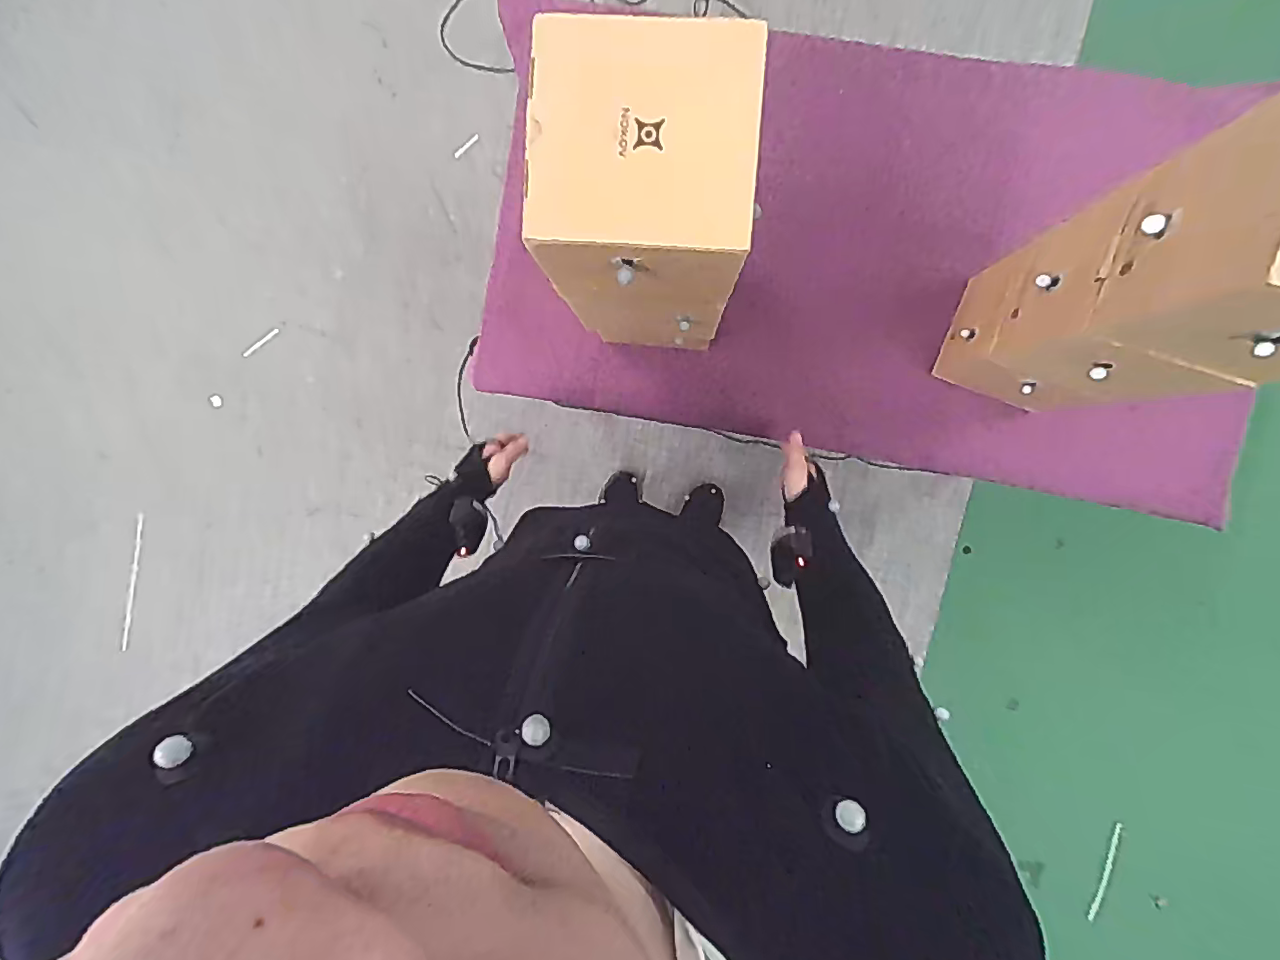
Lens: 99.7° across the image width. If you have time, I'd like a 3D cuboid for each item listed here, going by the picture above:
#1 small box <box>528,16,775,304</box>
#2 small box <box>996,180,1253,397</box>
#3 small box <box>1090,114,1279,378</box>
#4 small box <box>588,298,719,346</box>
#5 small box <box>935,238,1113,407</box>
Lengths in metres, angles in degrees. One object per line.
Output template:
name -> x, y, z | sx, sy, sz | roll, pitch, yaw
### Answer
small box -> 0.010, -0.261, 0.481 | 0.179, 0.176, 0.168 | 4, 95, 3
small box -> 0.555, -0.199, 0.615 | 0.179, 0.176, 0.168 | 19, 95, 3
small box -> 0.546, -0.190, 0.450 | 0.179, 0.176, 0.168 | 18, 95, 3
small box -> 0.028, -0.300, 0.806 | 0.179, 0.176, 0.168 | 6, 94, 3
small box -> 0.566, -0.211, 0.777 | 0.179, 0.176, 0.168 | 22, 95, 2
